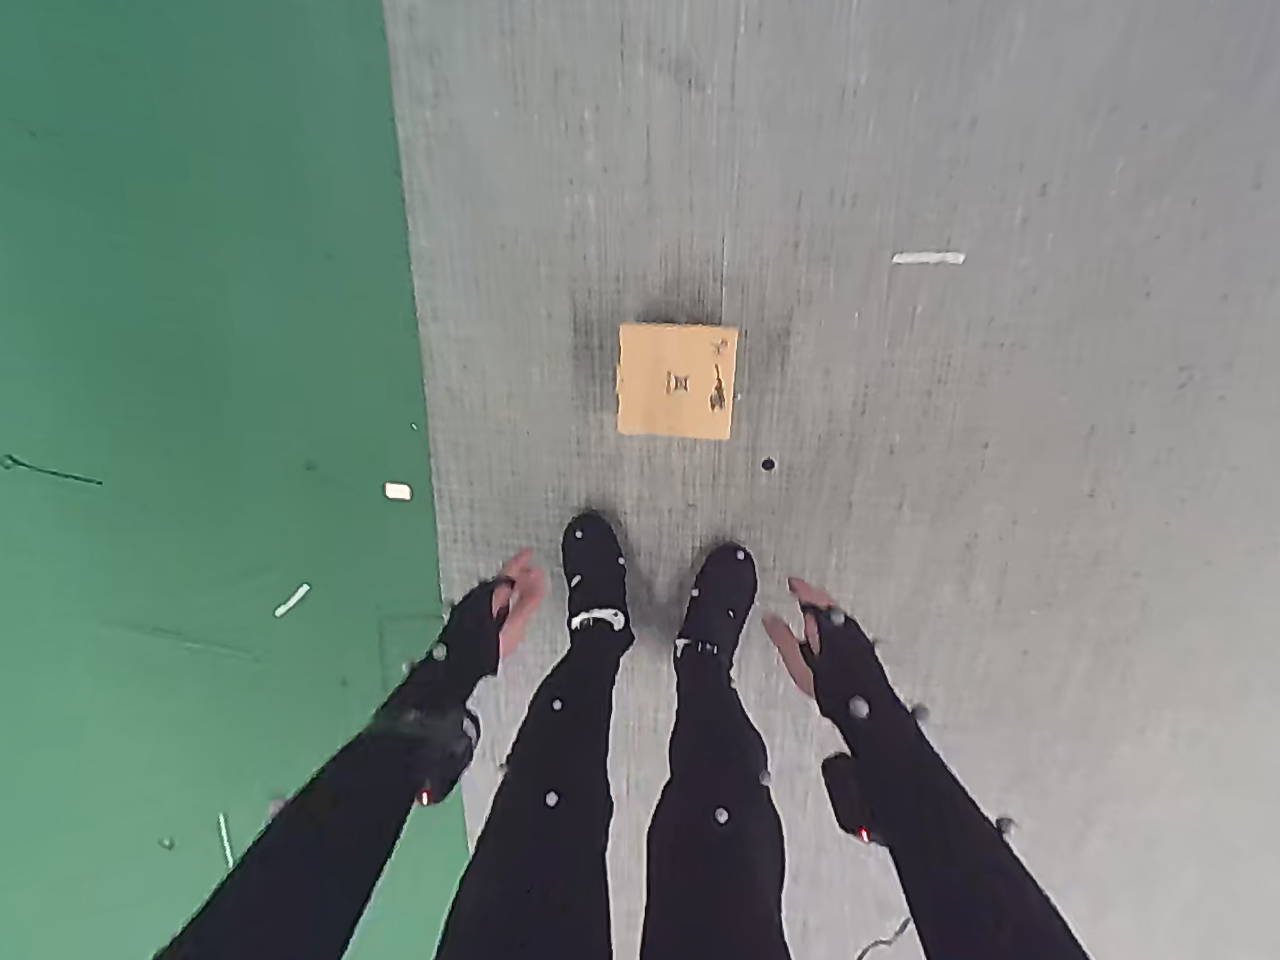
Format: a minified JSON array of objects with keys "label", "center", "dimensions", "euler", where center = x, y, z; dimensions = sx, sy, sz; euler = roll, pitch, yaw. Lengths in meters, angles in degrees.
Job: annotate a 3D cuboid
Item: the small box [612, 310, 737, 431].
[{"label":"small box","center":[0.058,-0.178,0.866],"dimensions":[0.179,0.176,0.168],"euler":[4,106,6]}]
